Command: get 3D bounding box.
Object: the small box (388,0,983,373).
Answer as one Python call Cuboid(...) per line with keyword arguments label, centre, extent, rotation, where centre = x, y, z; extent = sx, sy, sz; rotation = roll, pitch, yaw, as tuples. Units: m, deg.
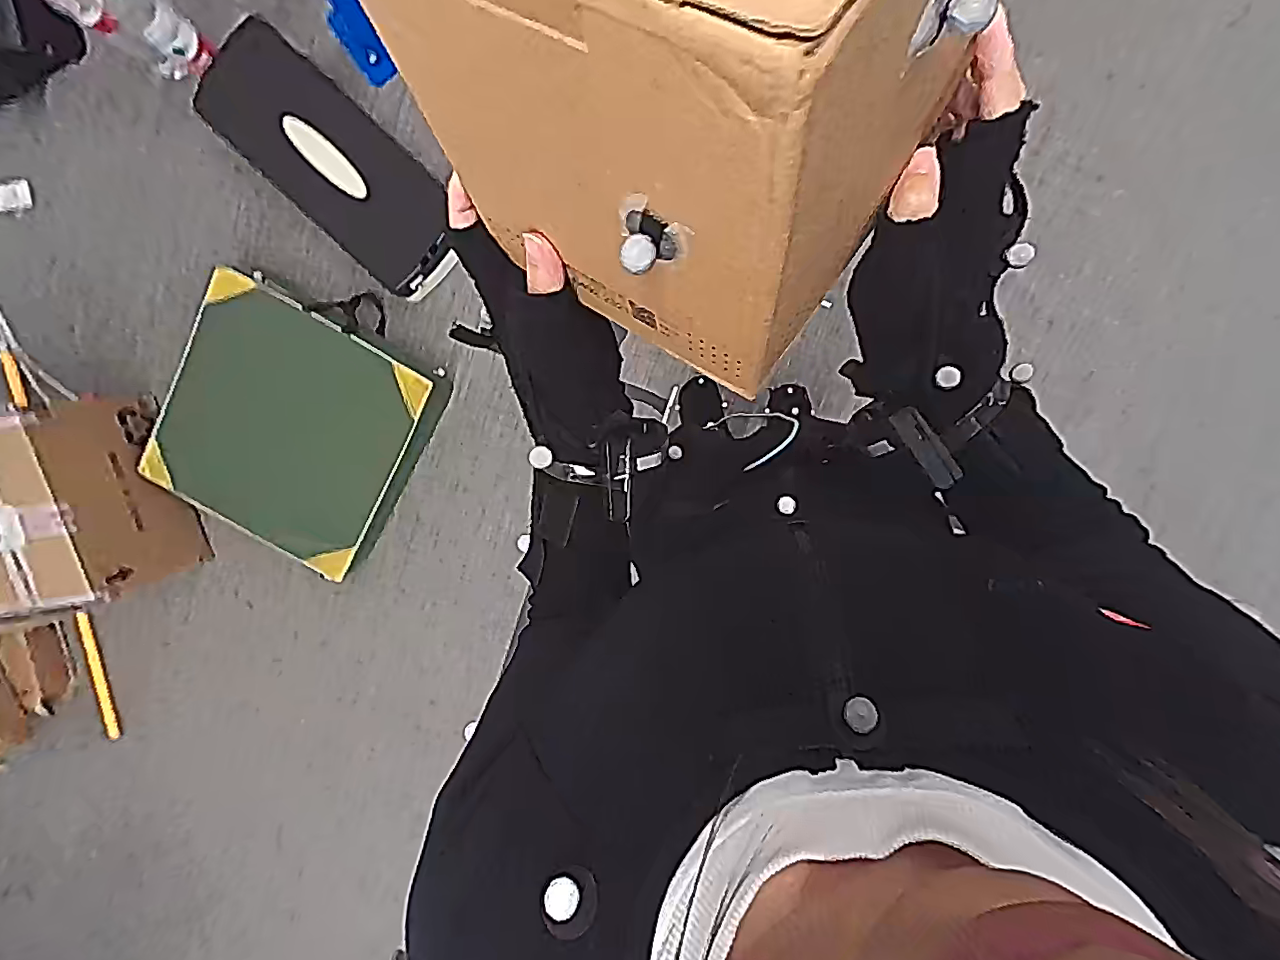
Cuboid(label="small box", centre=(0.033, -0.178, 0.234), extent=(0.168, 0.176, 0.179), rotation=(34, 81, 14))
